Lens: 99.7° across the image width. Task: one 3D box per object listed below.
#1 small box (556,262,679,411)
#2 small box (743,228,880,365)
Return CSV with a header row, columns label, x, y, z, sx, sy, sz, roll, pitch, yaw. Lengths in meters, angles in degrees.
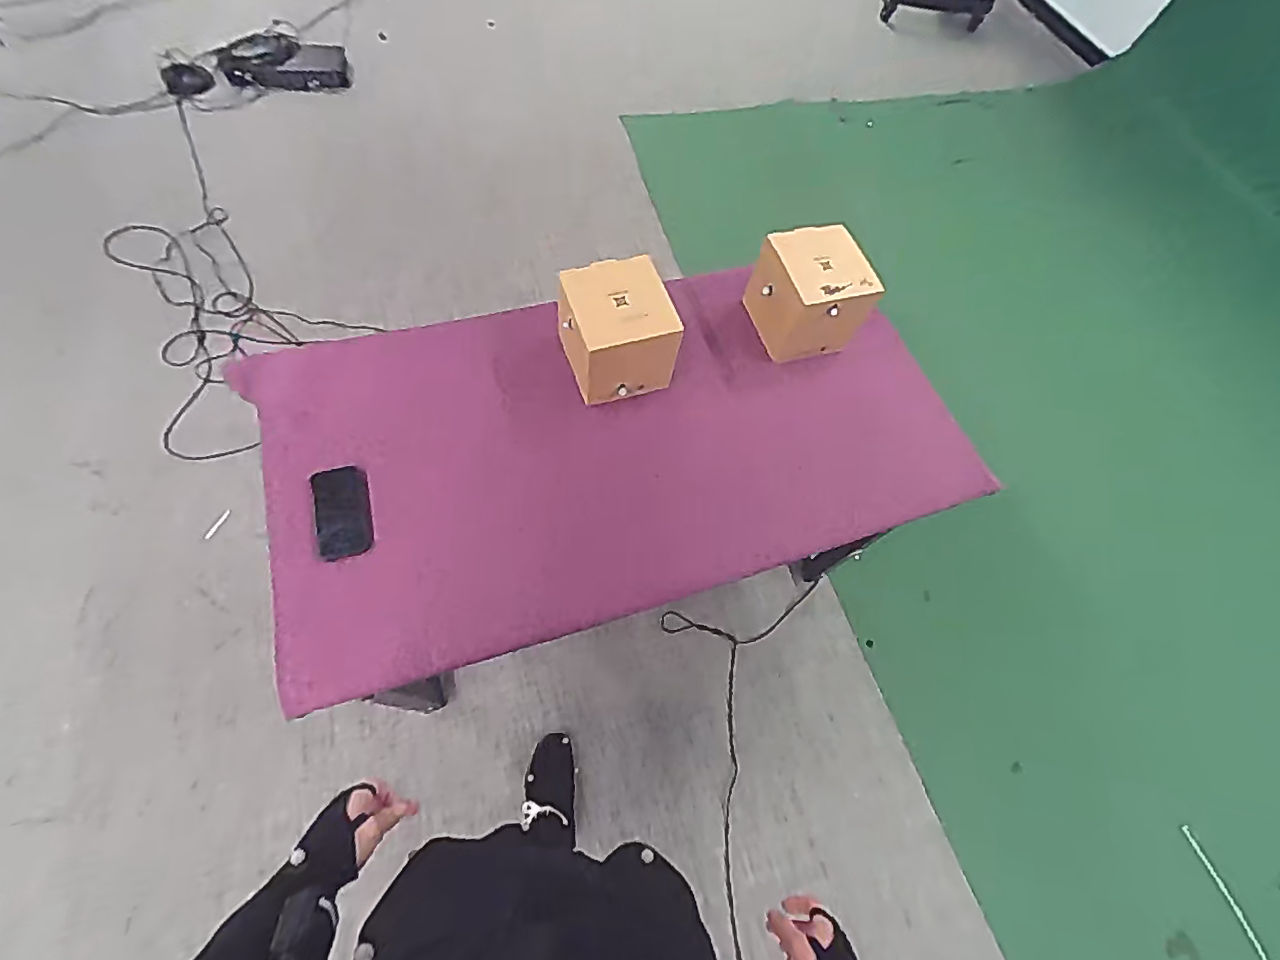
label,x,y,z,sx,sy,sz,roll,pitch,yaw
small box,-0.047,-0.251,0.963,0.168,0.176,0.179,-16,67,-13
small box,0.319,-0.352,1.049,0.168,0.176,0.179,-15,66,-12
